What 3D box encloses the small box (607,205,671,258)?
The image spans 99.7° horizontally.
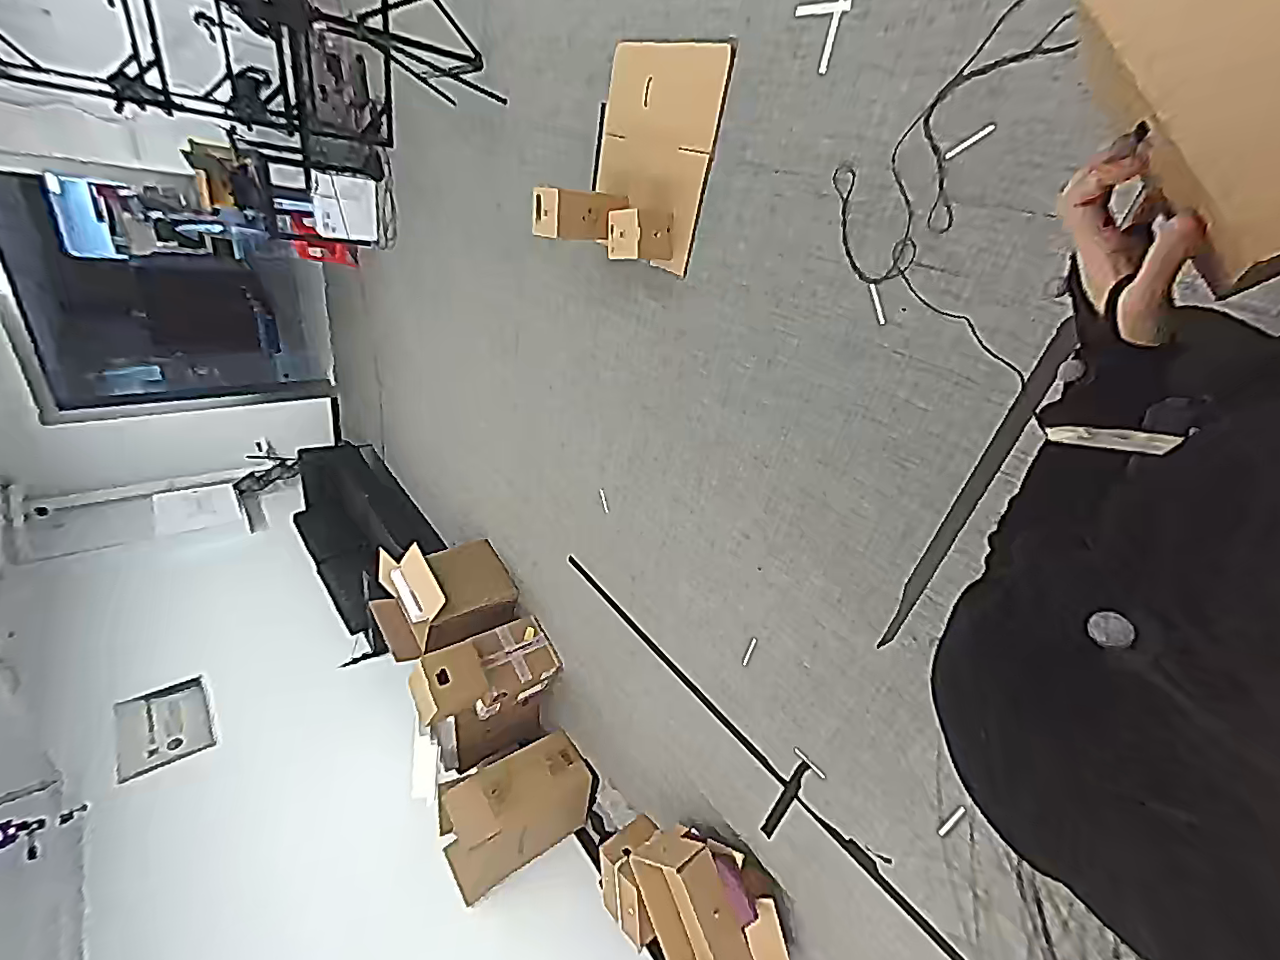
[{"bbox_3d":[-0.003,-0.913,1.993,0.179,0.176,0.168,23,120,44],"label":"small box"}]

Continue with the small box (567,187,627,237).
[{"bbox_3d":[-0.174,-1.066,2.156,0.179,0.176,0.168,28,124,42],"label":"small box"}]
